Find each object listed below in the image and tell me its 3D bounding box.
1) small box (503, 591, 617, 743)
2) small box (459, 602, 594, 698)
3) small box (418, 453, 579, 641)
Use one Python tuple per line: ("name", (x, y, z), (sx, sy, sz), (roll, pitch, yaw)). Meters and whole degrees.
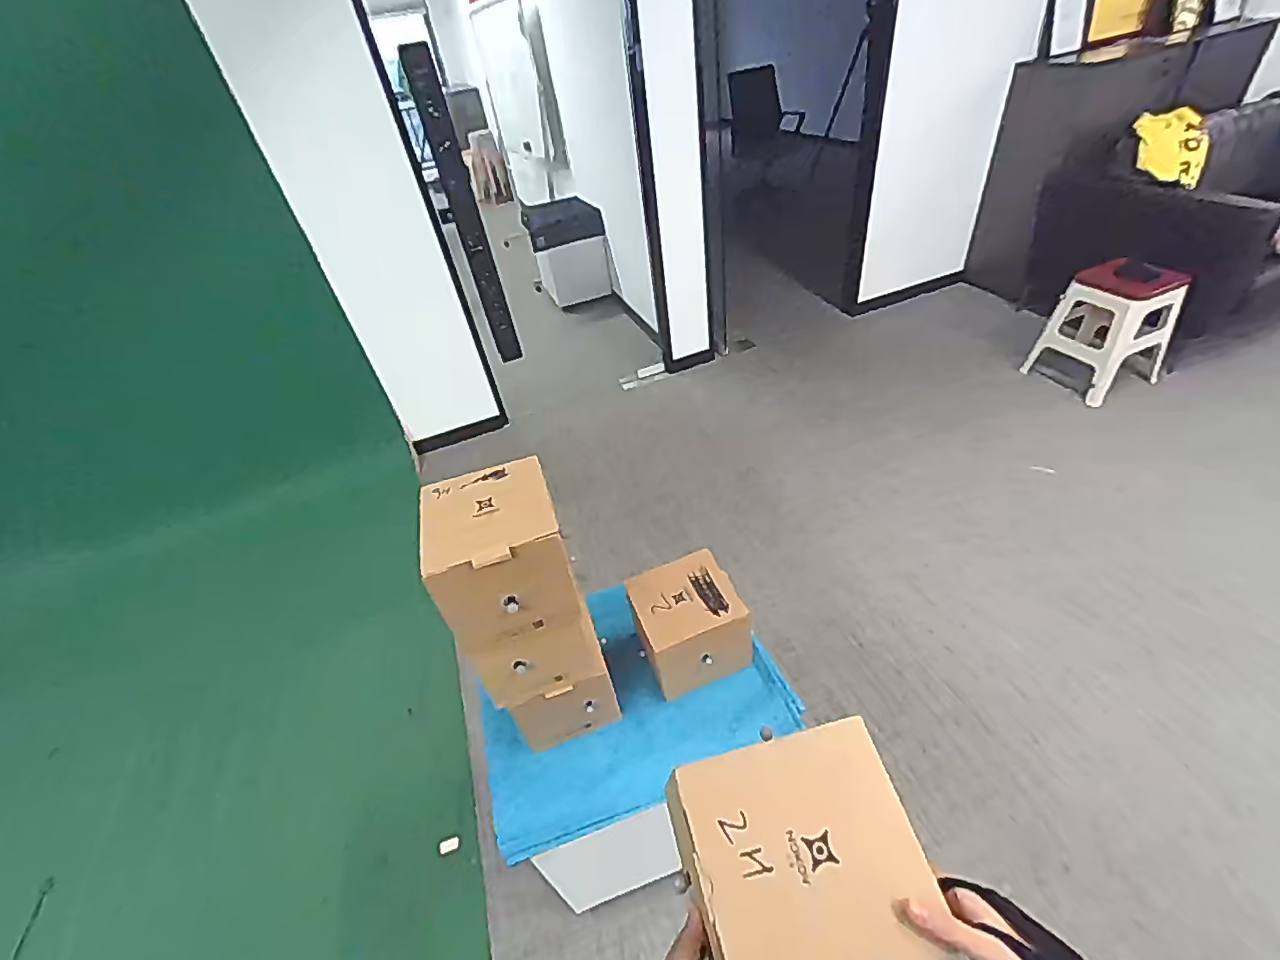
("small box", (-0.147, 0.335, 0.954), (0.168, 0.176, 0.179), (-16, 40, -10))
("small box", (-0.177, 0.215, 0.849), (0.168, 0.176, 0.179), (-16, 39, -9))
("small box", (-0.188, 0.095, 0.738), (0.168, 0.176, 0.179), (-16, 40, -9))
